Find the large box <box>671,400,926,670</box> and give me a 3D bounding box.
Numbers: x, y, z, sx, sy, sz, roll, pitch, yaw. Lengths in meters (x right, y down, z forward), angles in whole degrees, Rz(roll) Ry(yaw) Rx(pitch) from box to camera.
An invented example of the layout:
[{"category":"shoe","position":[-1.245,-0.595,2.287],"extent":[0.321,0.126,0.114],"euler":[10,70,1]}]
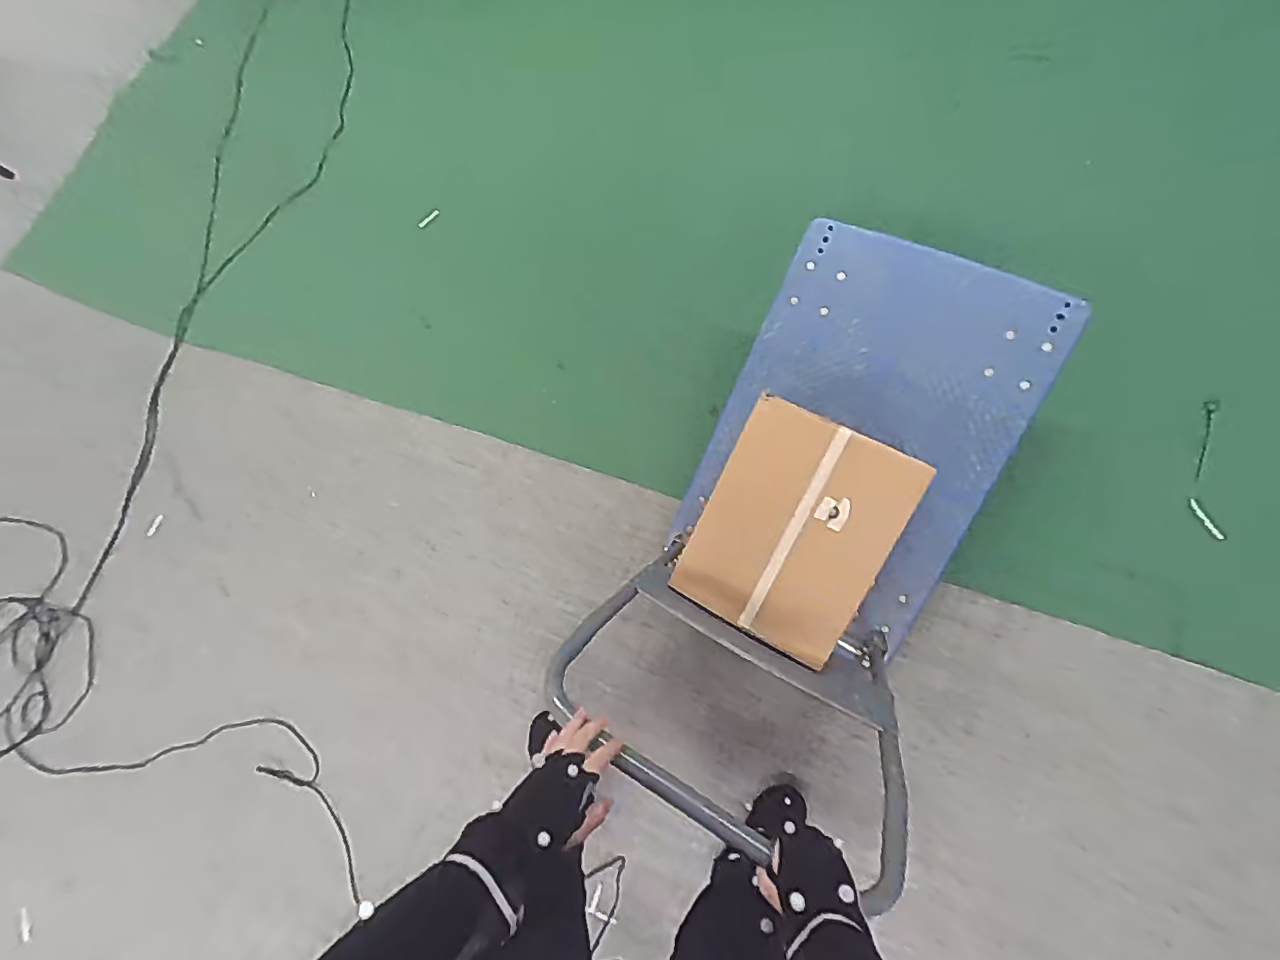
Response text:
[{"category":"large box","position":[0.314,0.094,1.107],"extent":[0.320,0.320,0.408],"euler":[28,101,15]}]
